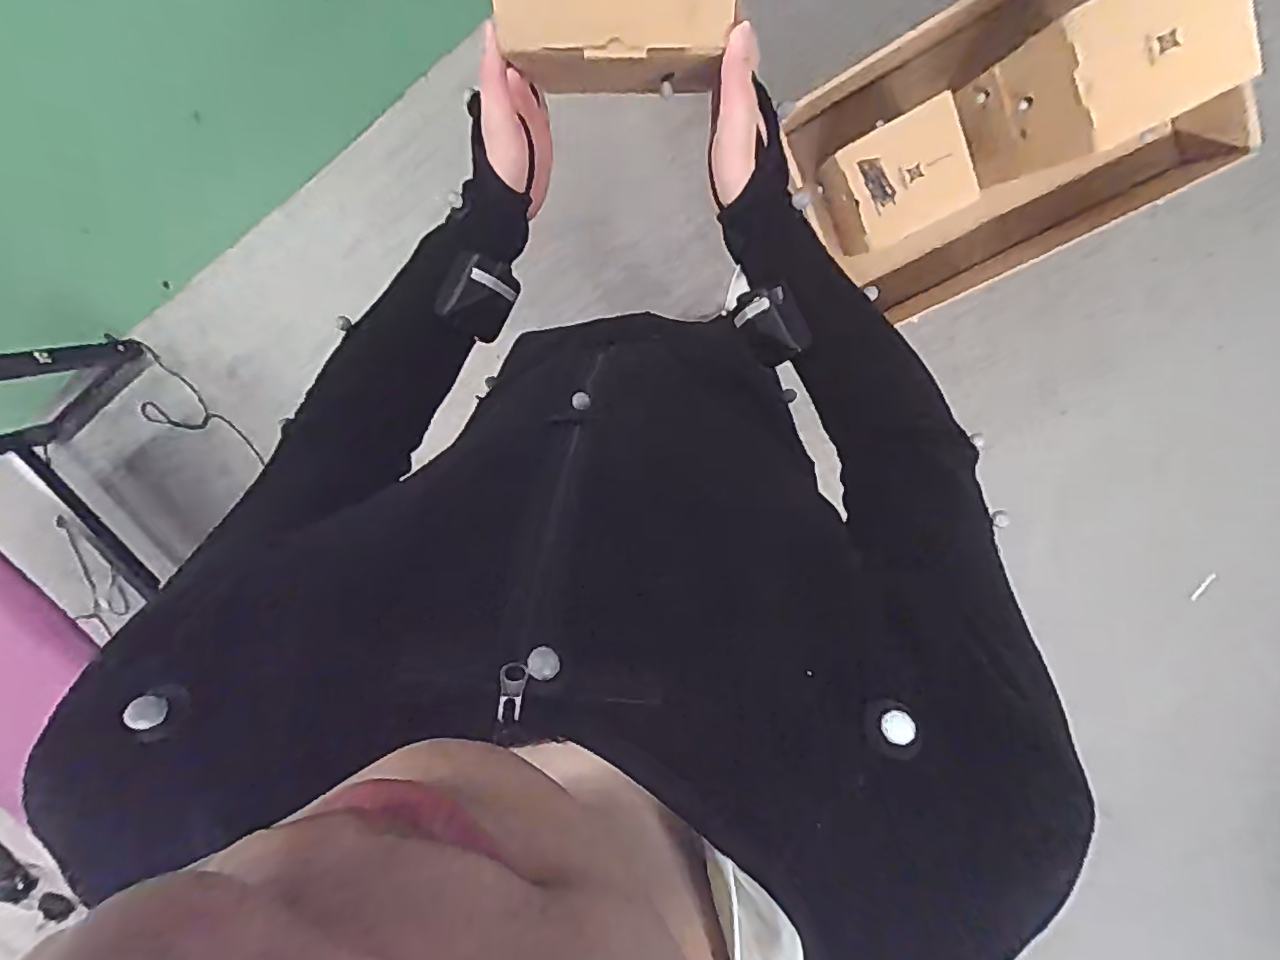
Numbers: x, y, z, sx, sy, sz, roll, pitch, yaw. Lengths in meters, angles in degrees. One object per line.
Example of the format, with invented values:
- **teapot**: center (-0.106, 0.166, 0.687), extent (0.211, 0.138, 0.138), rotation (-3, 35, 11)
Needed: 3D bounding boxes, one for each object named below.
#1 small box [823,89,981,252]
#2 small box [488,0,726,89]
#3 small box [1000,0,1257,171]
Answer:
- **small box**: center (0.424, -0.501, 0.910), extent (0.179, 0.176, 0.168), rotation (-24, 106, 13)
- **small box**: center (-0.017, -0.412, 0.406), extent (0.168, 0.176, 0.179), rotation (1, 118, 1)
- **small box**: center (0.618, -0.537, 0.704), extent (0.179, 0.176, 0.168), rotation (-24, 106, 16)
